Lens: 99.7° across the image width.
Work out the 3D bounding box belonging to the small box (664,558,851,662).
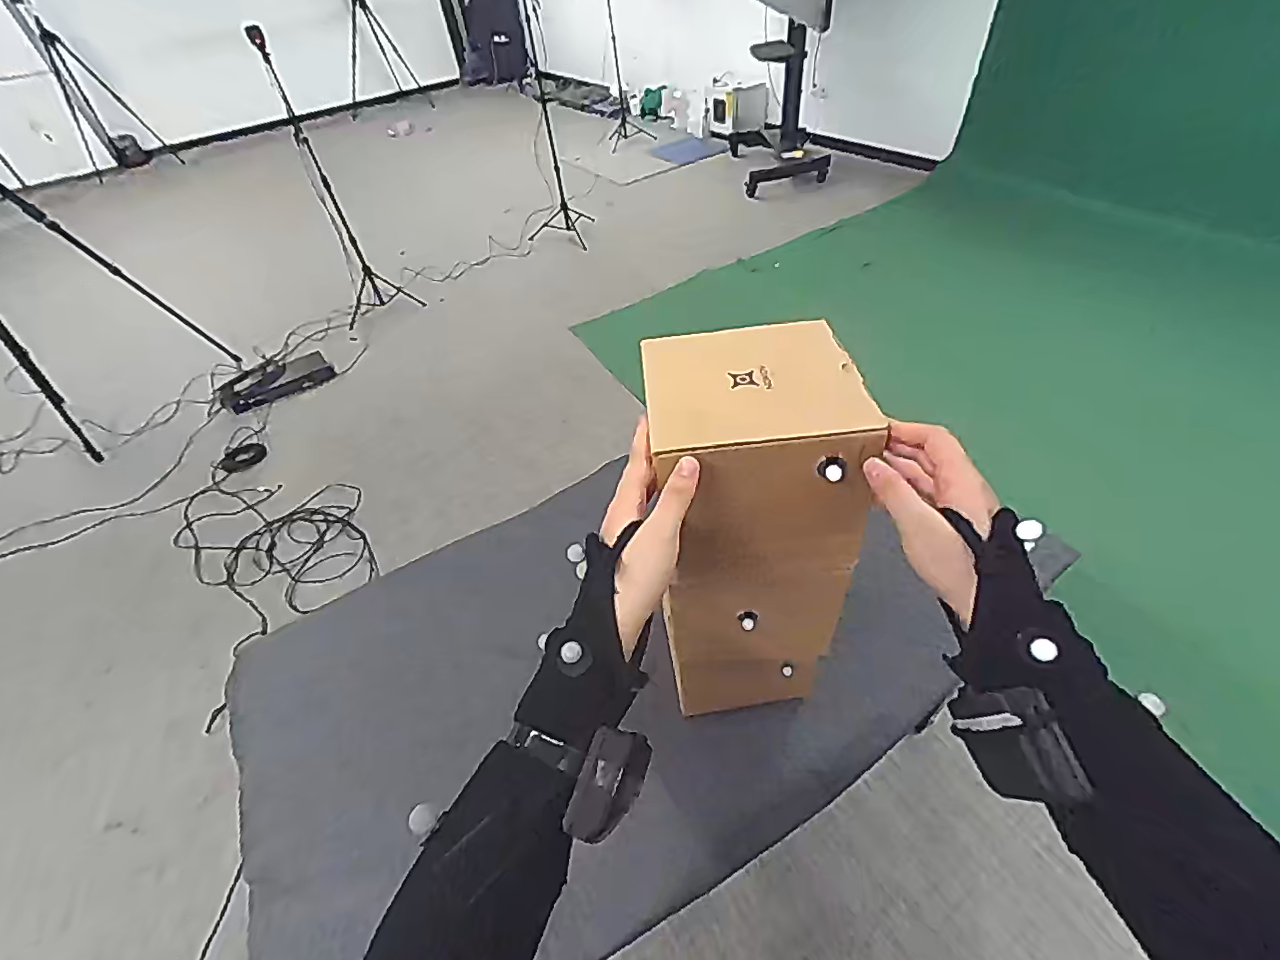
[{"bbox_3d":[0.118,0.092,0.614,0.179,0.176,0.168,-5,44,5],"label":"small box"}]

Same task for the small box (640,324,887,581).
[{"bbox_3d":[0.097,-0.021,0.499,0.179,0.176,0.168,-6,44,2],"label":"small box"}]
